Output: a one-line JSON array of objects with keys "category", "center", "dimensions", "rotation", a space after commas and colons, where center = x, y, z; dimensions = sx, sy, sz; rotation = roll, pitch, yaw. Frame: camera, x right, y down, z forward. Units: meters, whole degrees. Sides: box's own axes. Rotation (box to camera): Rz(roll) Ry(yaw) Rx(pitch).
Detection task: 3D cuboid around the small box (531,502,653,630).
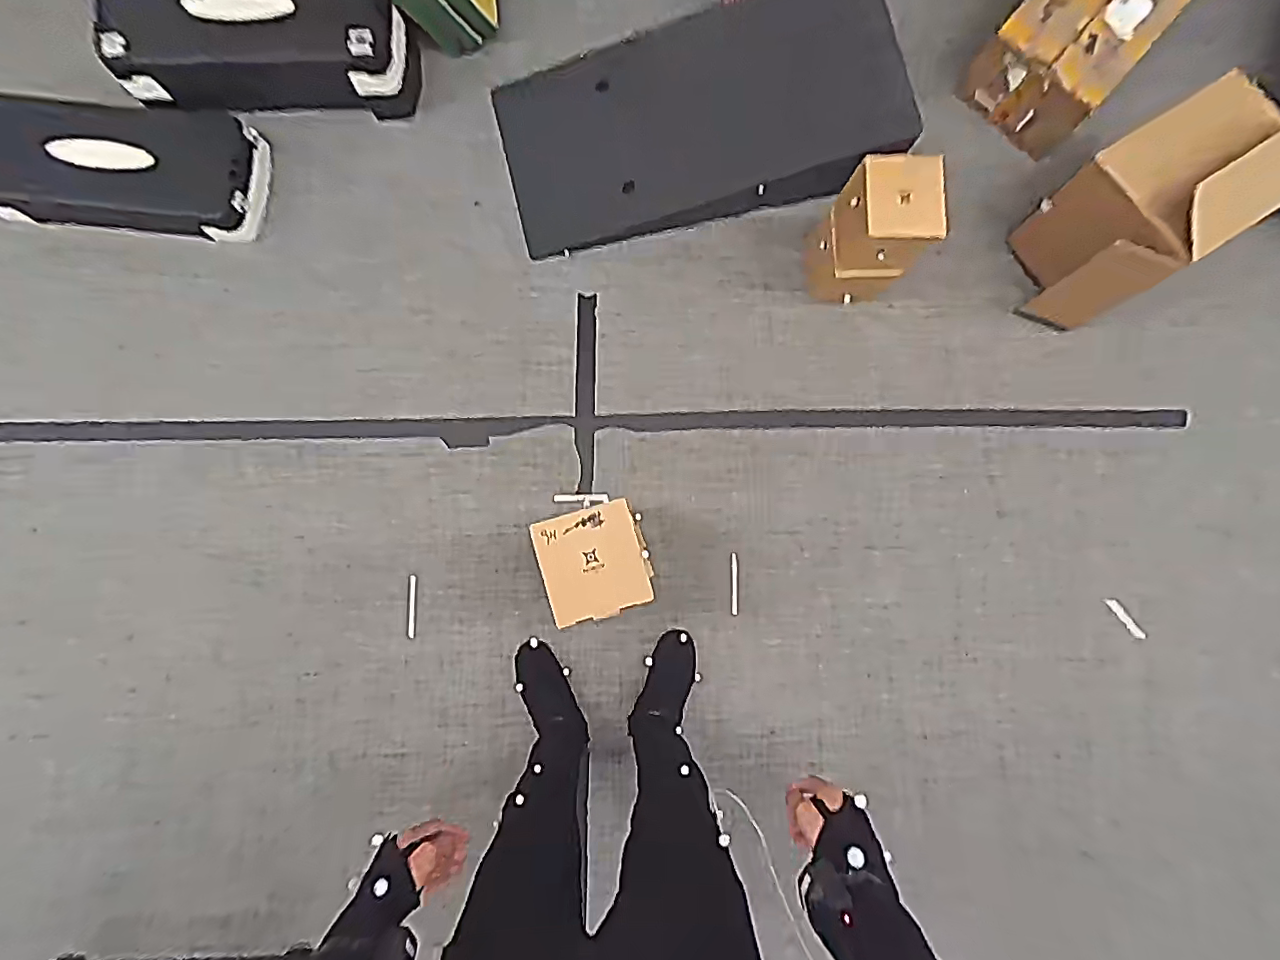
[{"category": "small box", "center": [-0.080, 0.144, 0.955], "dimensions": [0.168, 0.176, 0.179], "rotation": [-16, 86, -4]}]
